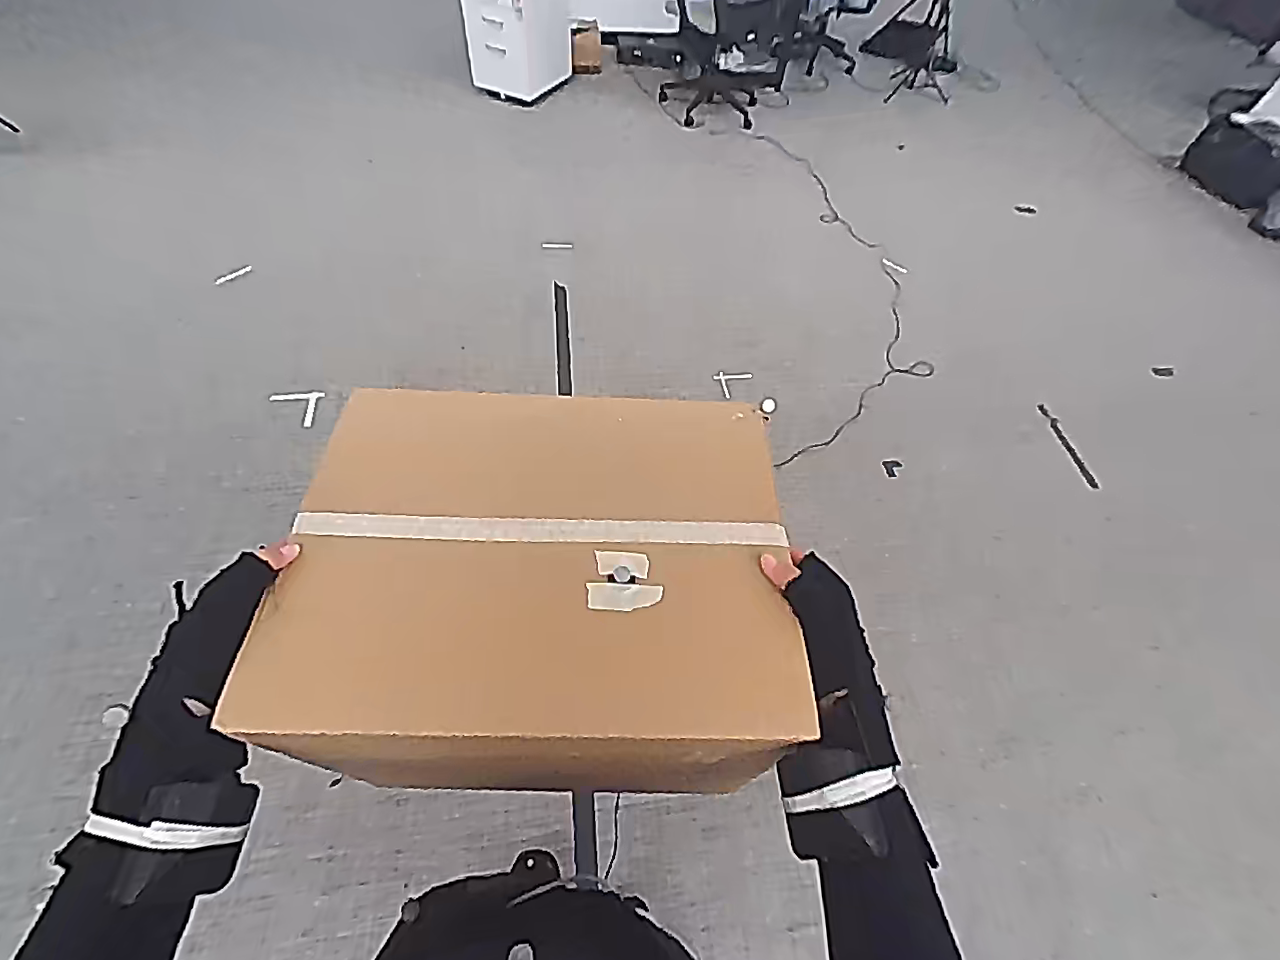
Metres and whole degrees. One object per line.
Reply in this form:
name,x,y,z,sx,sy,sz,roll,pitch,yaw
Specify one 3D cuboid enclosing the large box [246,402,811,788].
large box,-0.084,0.137,0.584,0.408,0.320,0.320,2,55,-3
